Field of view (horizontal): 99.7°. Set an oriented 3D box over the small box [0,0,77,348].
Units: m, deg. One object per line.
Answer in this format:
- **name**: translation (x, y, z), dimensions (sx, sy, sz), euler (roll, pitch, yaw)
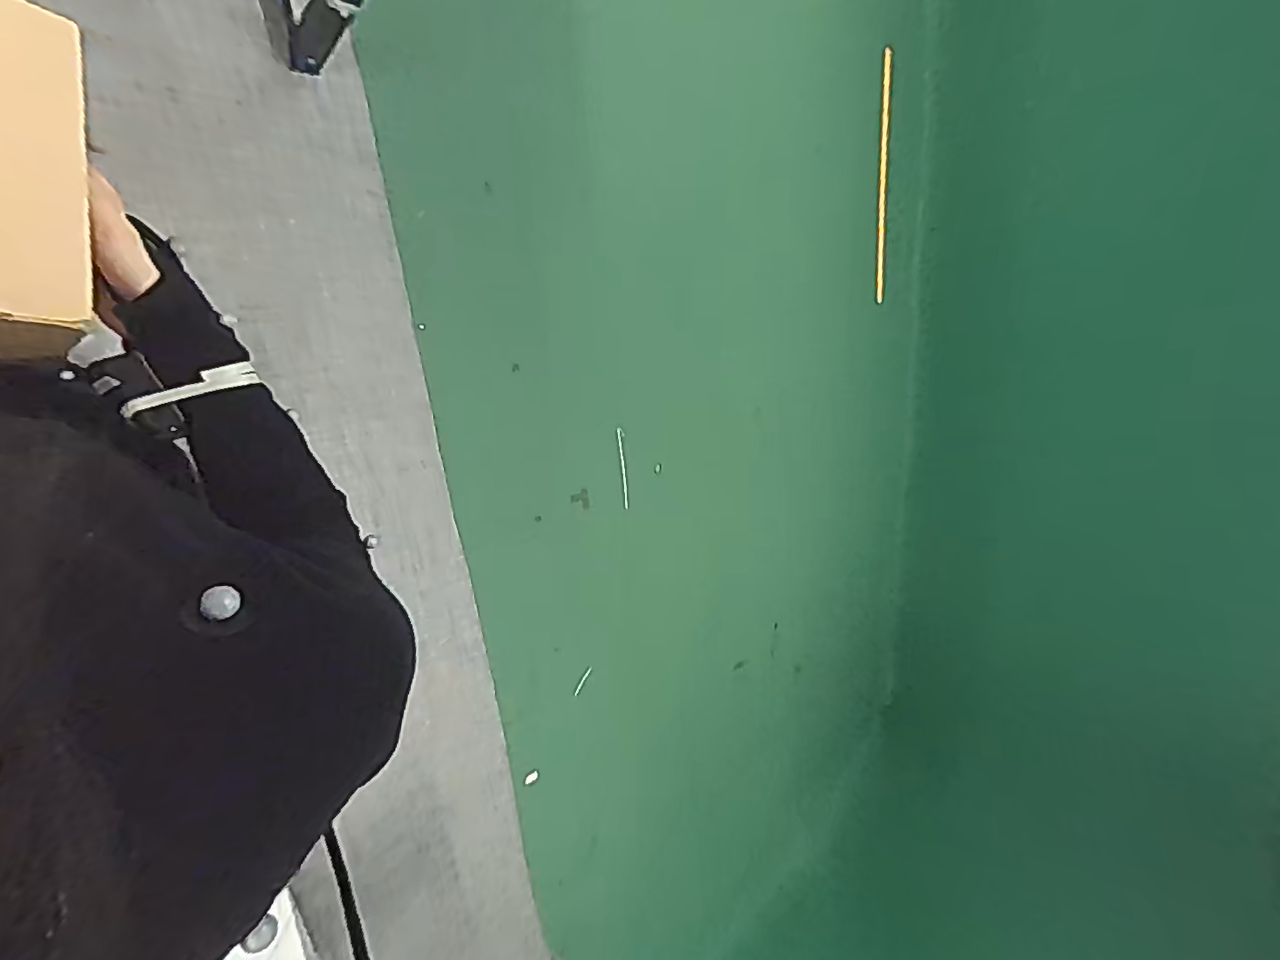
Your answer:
- **small box**: translation (-0.419, -0.179, 0.275), dimensions (0.168, 0.176, 0.179), euler (0, 90, -53)
